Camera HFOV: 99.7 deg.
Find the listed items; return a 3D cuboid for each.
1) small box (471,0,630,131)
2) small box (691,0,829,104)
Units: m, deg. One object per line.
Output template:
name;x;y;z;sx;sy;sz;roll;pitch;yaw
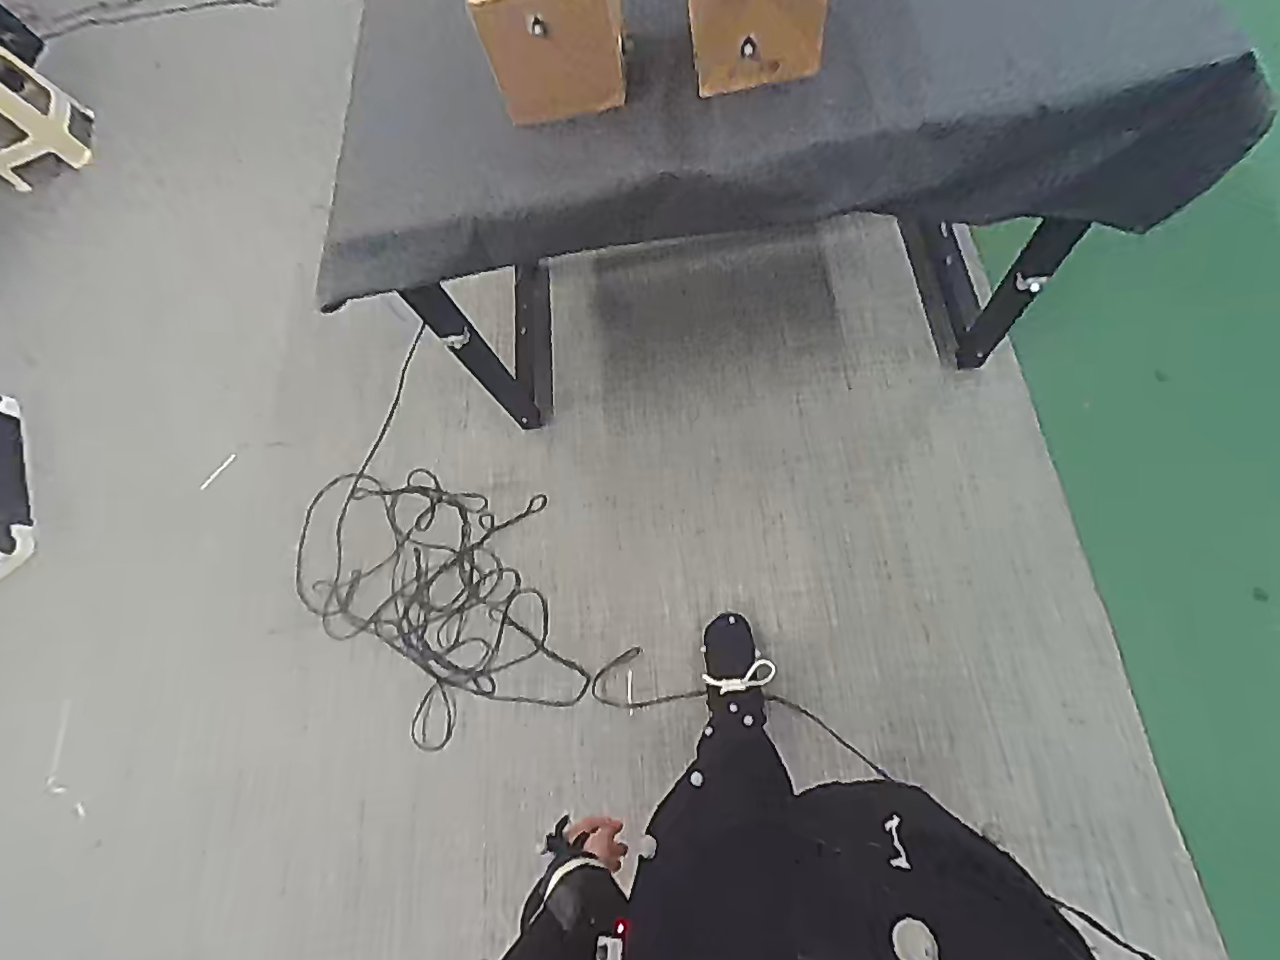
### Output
small box;-0.115;-0.629;0.763;0.179;0.176;0.168;-4;71;7
small box;0.152;-0.650;0.720;0.168;0.176;0.179;-5;70;9
